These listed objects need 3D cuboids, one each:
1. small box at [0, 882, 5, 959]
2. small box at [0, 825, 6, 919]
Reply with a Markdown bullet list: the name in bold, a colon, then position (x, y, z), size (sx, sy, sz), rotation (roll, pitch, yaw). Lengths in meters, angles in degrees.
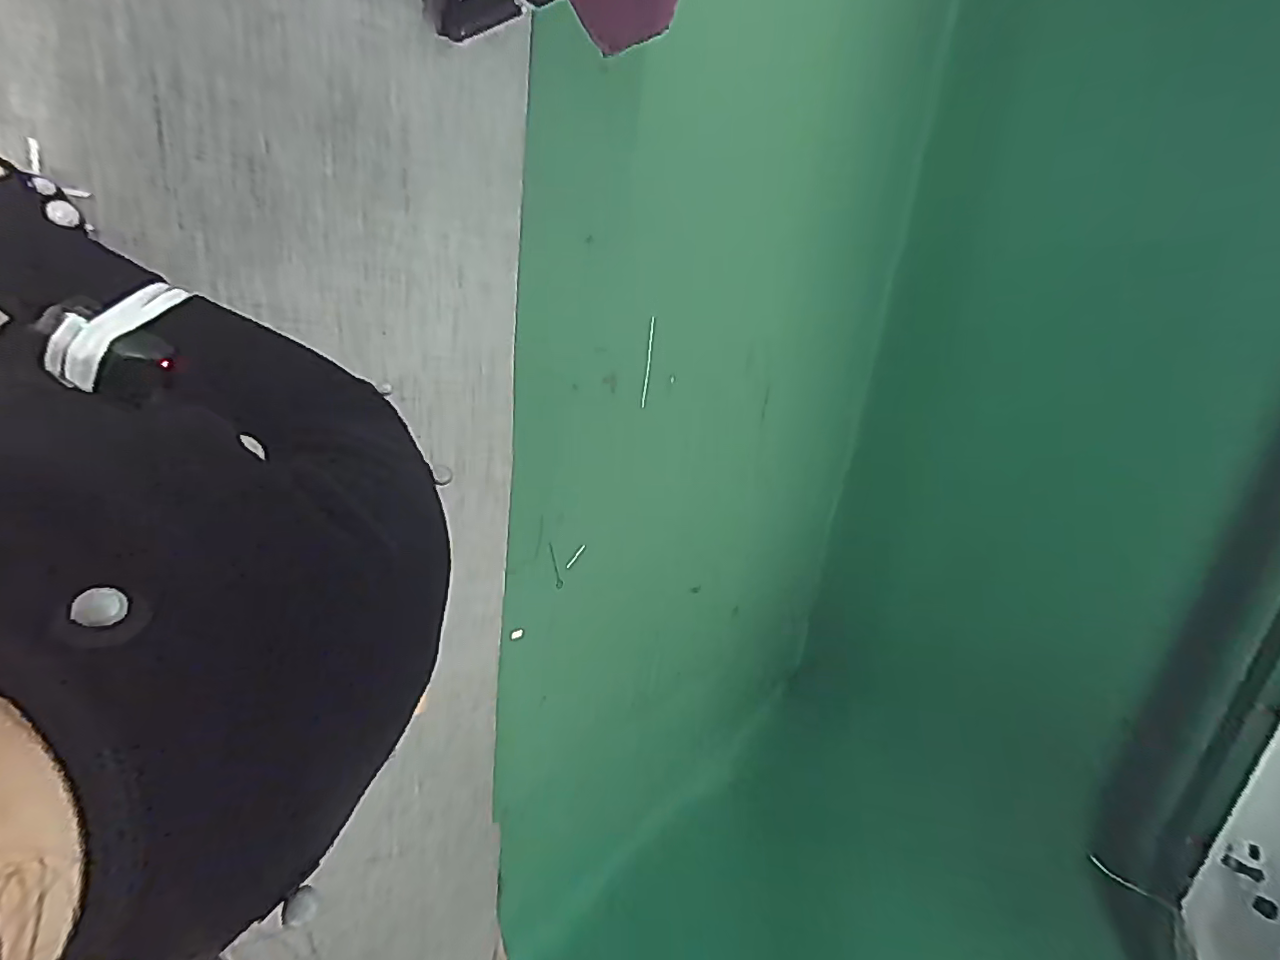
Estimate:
- **small box**: position (-1.215, 0.799, 0.917), size (0.168, 0.176, 0.179), rotation (-7, 112, -48)
- **small box**: position (-1.337, 0.758, 1.020), size (0.168, 0.176, 0.179), rotation (-9, 112, -47)
